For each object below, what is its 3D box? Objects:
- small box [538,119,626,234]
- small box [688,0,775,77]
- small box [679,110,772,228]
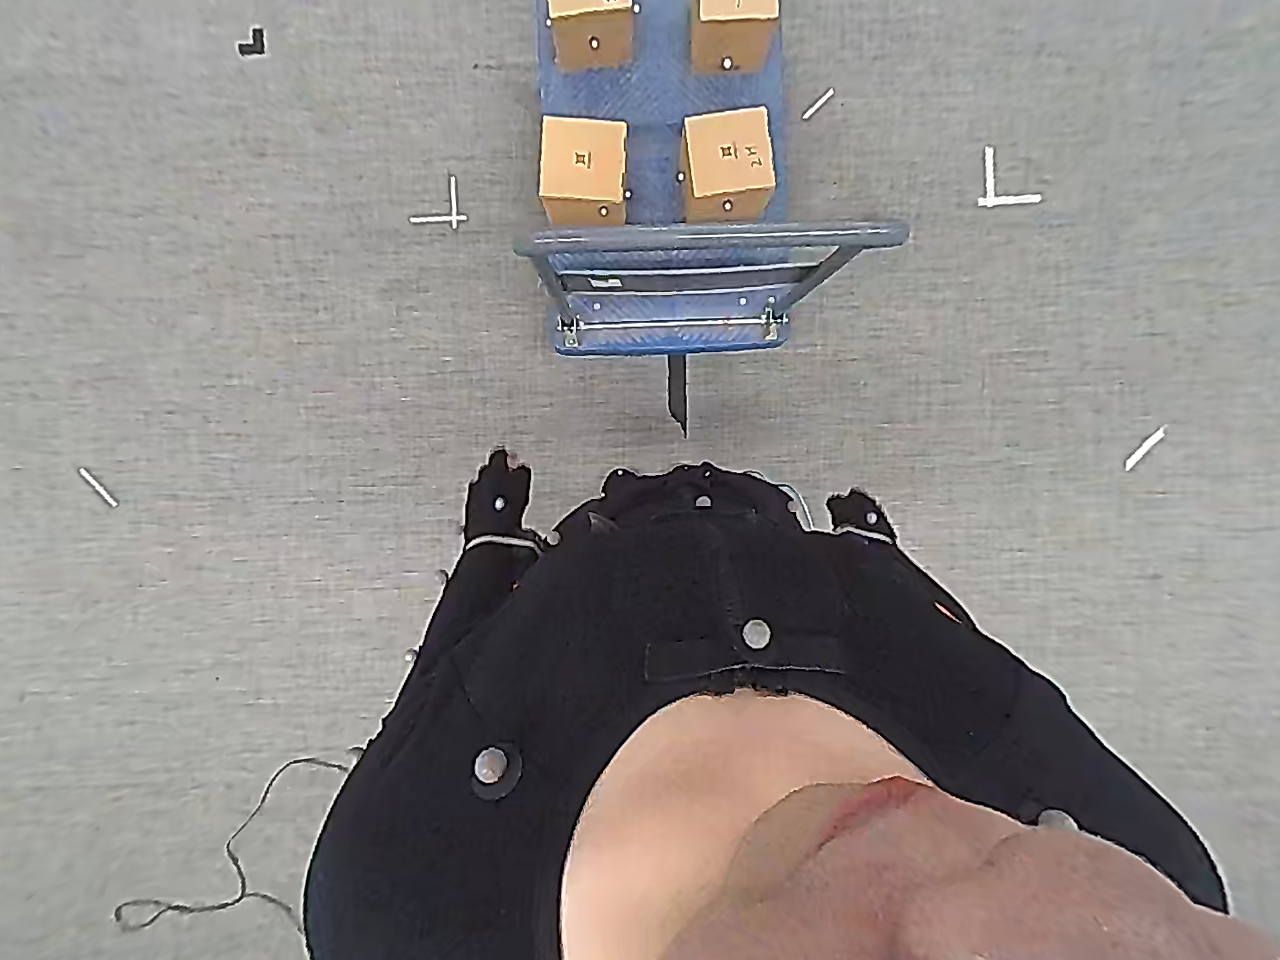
[{"bbox_3d":[-0.124,-0.671,1.211,0.179,0.176,0.168,3,92,-2],"label":"small box"},{"bbox_3d":[0.197,-1.041,1.199,0.168,0.176,0.179,-2,93,0],"label":"small box"},{"bbox_3d":[0.183,-0.686,1.213,0.179,0.176,0.168,-8,92,0],"label":"small box"}]
